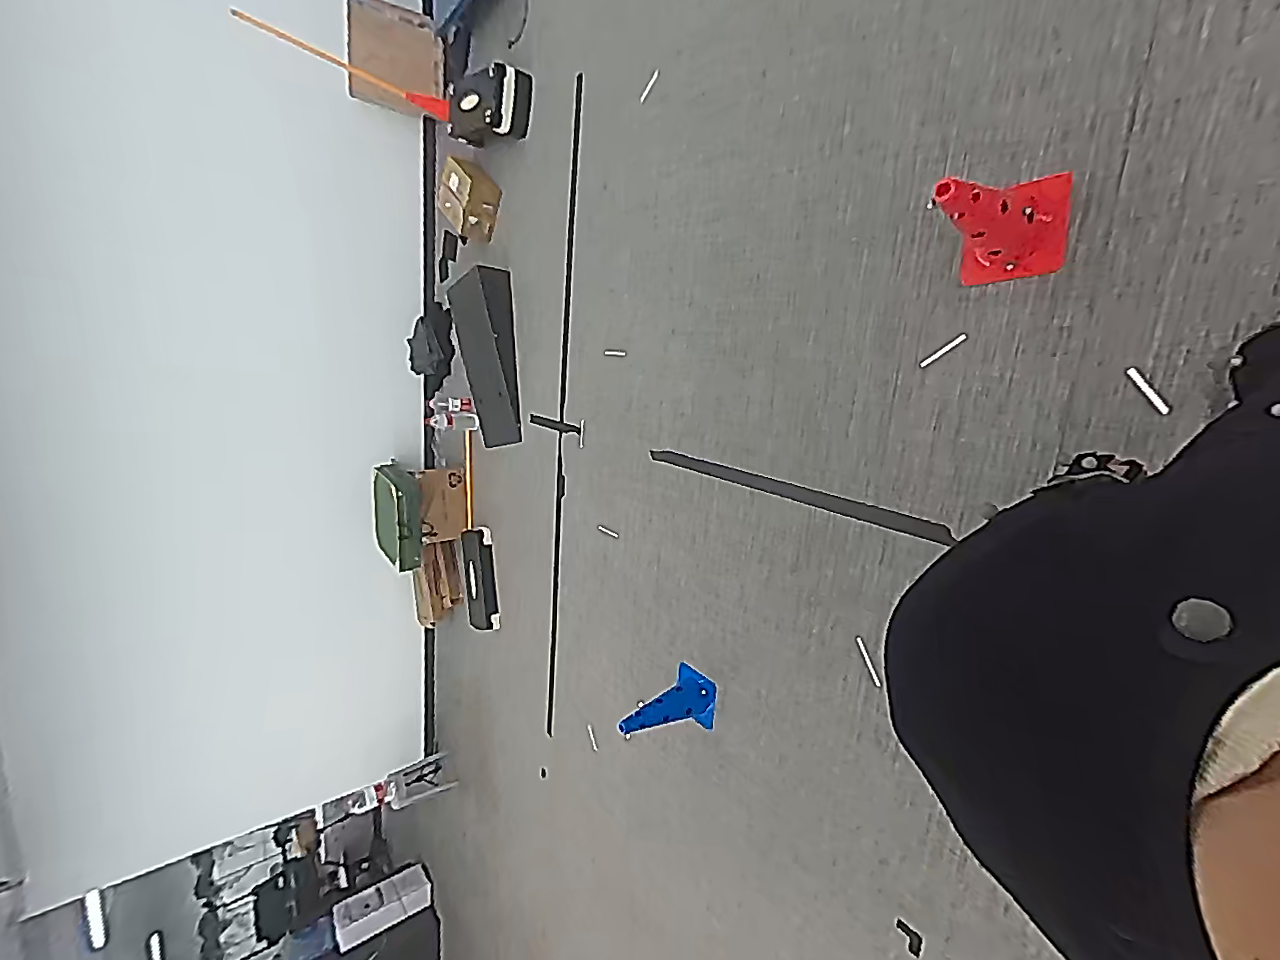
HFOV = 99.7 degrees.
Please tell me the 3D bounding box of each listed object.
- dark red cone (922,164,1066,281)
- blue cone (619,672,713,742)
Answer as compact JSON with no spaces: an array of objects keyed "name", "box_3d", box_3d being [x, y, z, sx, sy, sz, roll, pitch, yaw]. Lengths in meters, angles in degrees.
[{"name":"dark red cone","box_3d":[0.655,-0.527,1.054,0.202,0.394,0.201,7,101,51]},{"name":"blue cone","box_3d":[0.083,0.861,1.975,0.193,0.380,0.192,20,110,49]}]
